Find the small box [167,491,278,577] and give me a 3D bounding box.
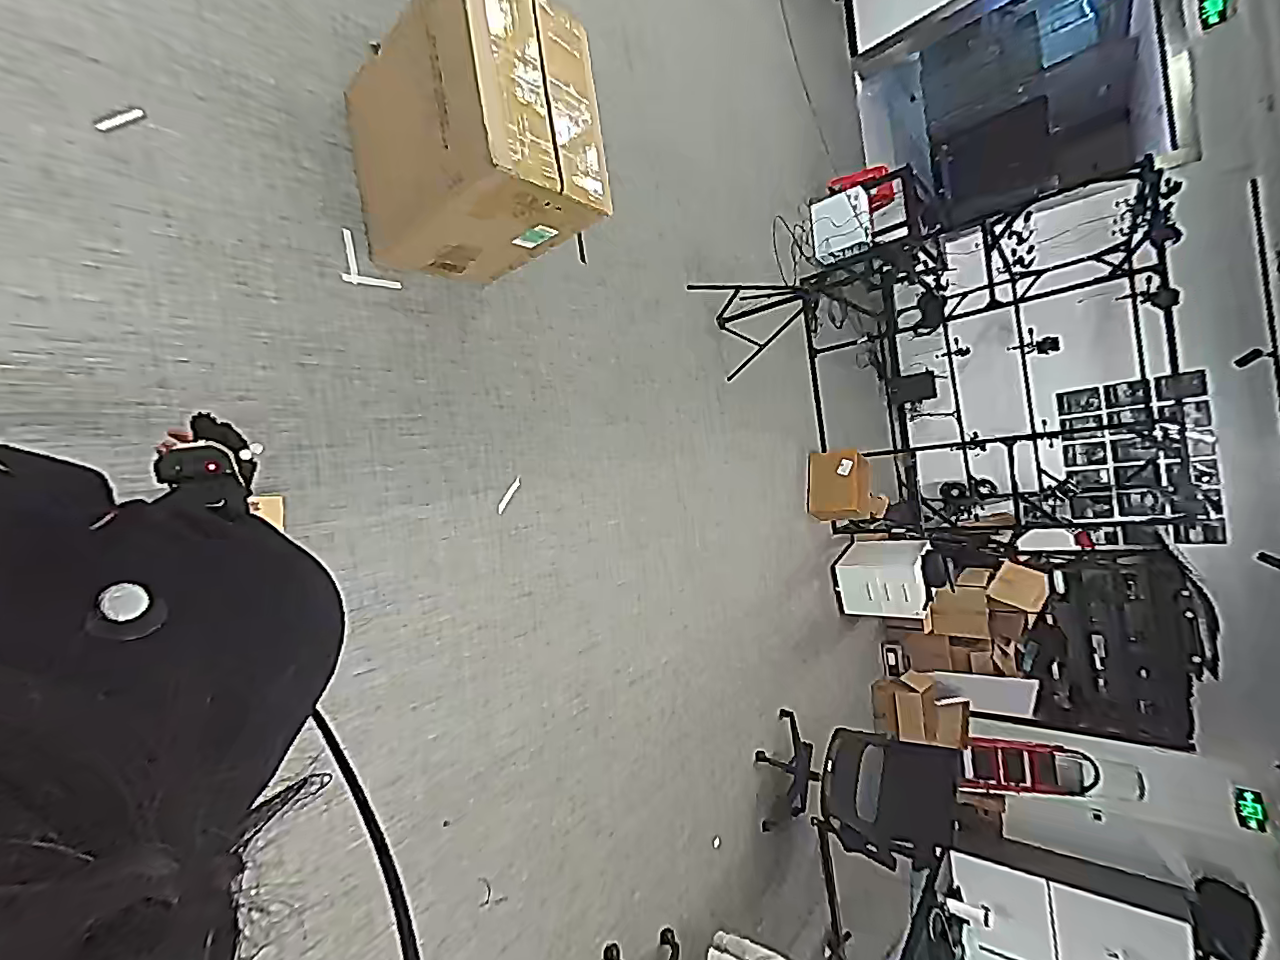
[{"bbox_3d":[-0.934,0.118,1.210,0.168,0.176,0.179,2,84,-50],"label":"small box"}]
